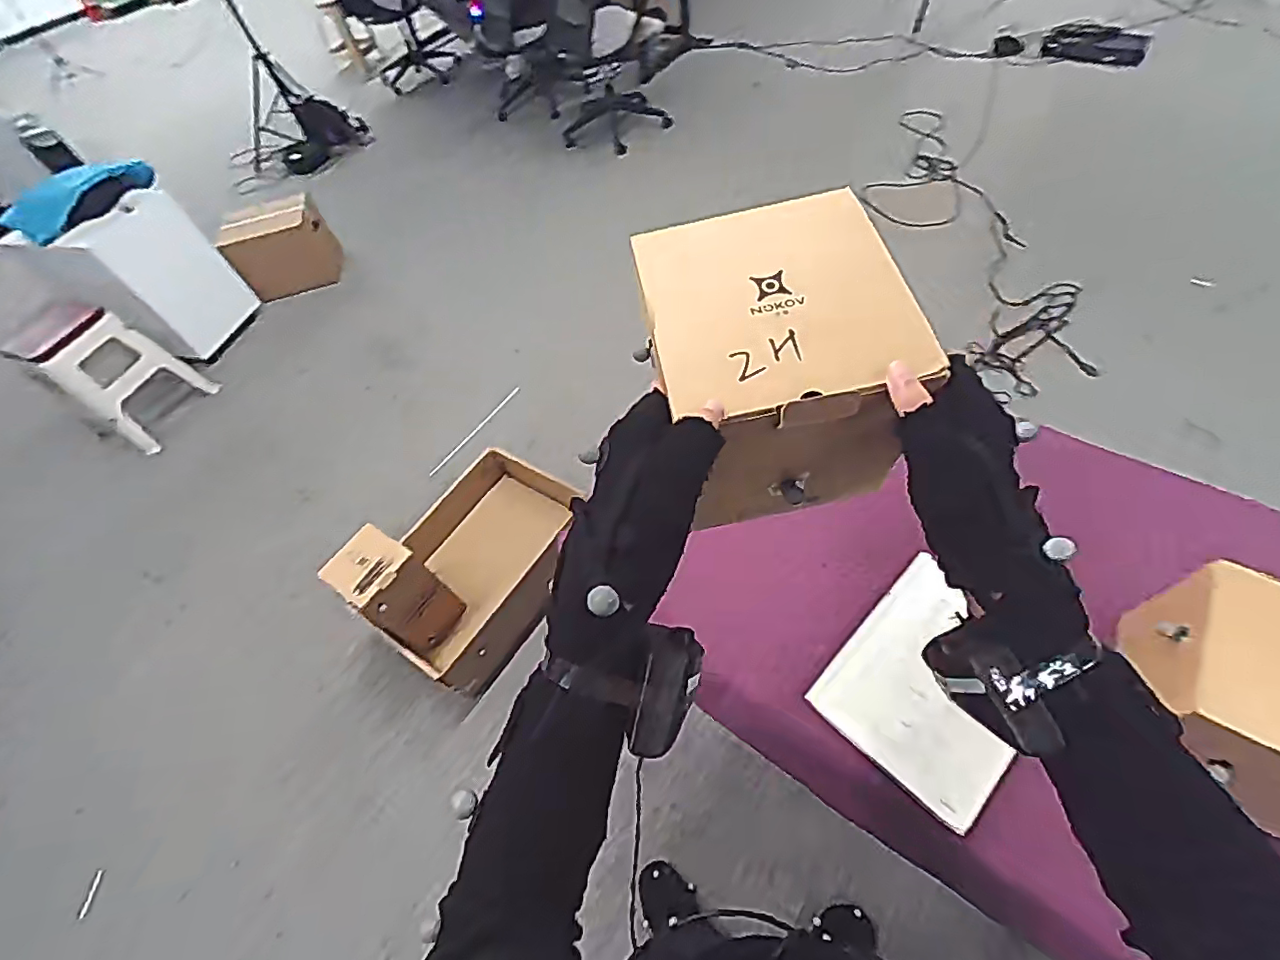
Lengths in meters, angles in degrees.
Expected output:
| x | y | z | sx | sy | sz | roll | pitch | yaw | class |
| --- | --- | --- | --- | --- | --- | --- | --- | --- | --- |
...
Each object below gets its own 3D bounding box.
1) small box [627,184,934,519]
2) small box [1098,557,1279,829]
| x | y | z | sx | sy | sz | roll | pitch | yaw | class |
| --- | --- | --- | --- | --- | --- | --- | --- | --- | --- |
| 0.089 | -0.091 | 0.428 | 0.168 | 0.176 | 0.179 | -11 | 63 | 2 | small box |
| 0.606 | 0.215 | 0.538 | 0.168 | 0.176 | 0.179 | 27 | 64 | 25 | small box |
